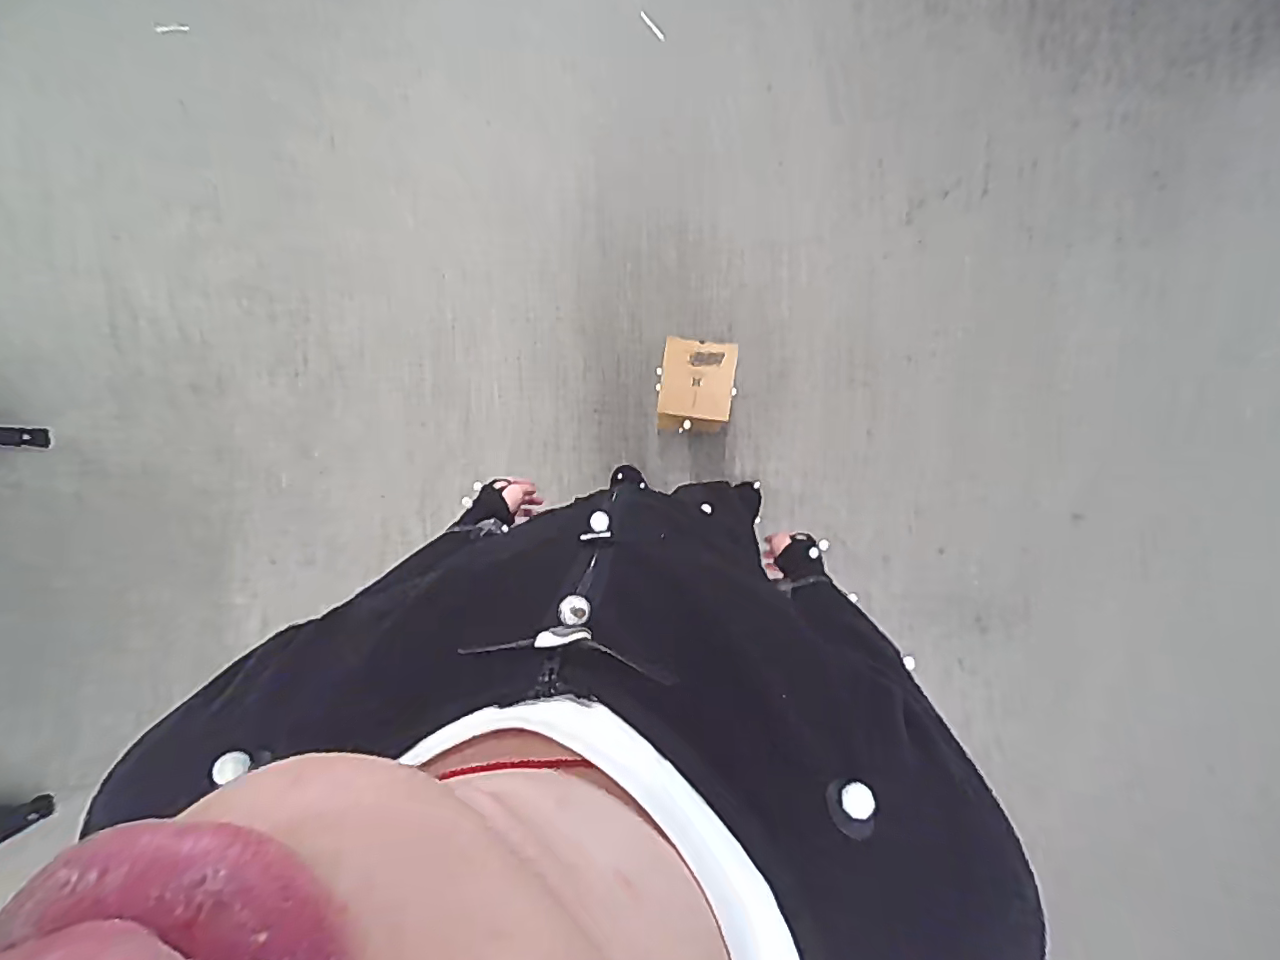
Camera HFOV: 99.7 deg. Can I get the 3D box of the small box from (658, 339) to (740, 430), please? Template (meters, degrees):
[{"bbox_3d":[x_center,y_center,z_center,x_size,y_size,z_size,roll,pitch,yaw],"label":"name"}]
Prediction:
[{"bbox_3d":[0.135,-0.223,1.301,0.168,0.176,0.179,8,91,2],"label":"small box"}]

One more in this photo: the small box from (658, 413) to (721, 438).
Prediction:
[{"bbox_3d":[0.138,-0.215,1.466,0.168,0.176,0.179,7,90,2],"label":"small box"}]
